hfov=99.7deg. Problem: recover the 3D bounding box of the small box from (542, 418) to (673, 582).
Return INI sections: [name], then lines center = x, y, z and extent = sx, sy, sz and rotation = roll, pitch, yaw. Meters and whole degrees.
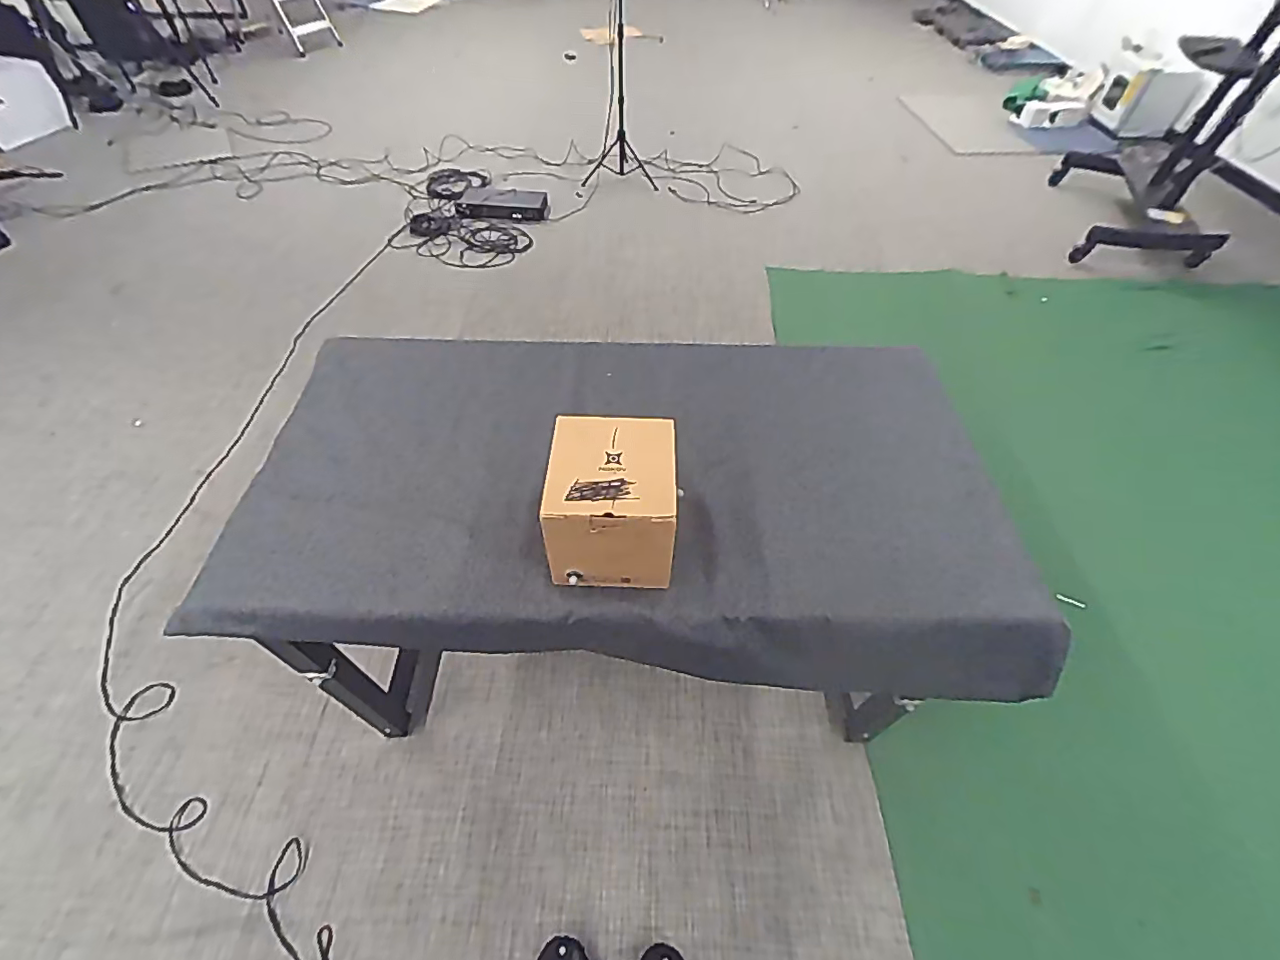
[small box]
center = -0.038, 0.031, 0.779
extent = 0.168, 0.176, 0.179
rotation = 2, 49, 0
